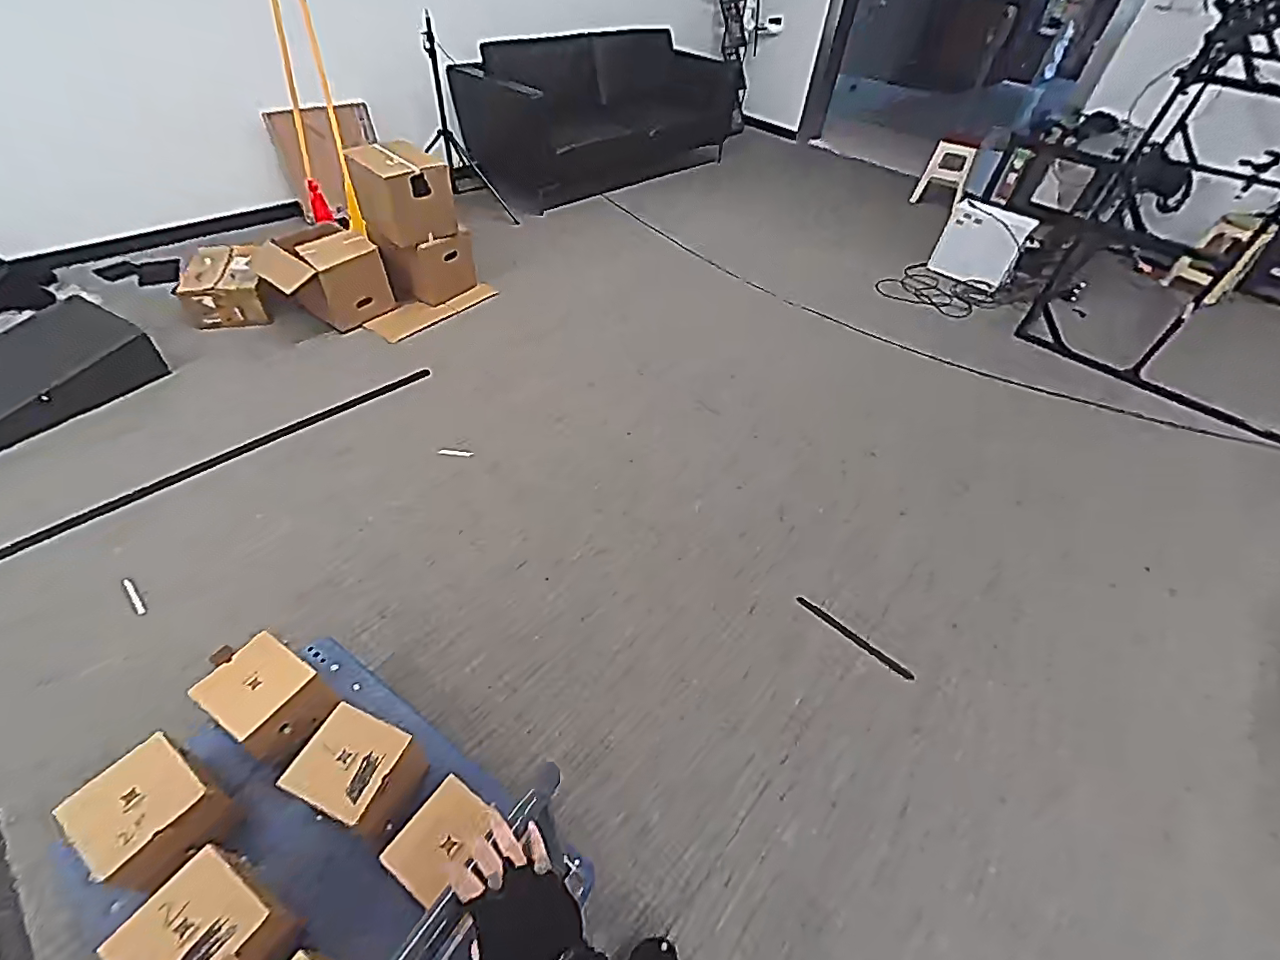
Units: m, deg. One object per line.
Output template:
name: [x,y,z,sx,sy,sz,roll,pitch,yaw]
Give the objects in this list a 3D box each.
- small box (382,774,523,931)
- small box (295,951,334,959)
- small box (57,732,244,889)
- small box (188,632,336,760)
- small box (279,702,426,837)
small box: [-0.334,0.691,1.002,0.179,0.176,0.168,29,49,20]
small box: [-0.494,0.861,0.815,0.179,0.176,0.168,26,48,16]
small box: [-0.887,0.612,0.996,0.179,0.176,0.168,31,50,19]
small box: [-0.790,0.465,1.152,0.179,0.176,0.168,27,49,17]
small box: [-0.555,0.580,1.075,0.179,0.176,0.168,19,47,11]
